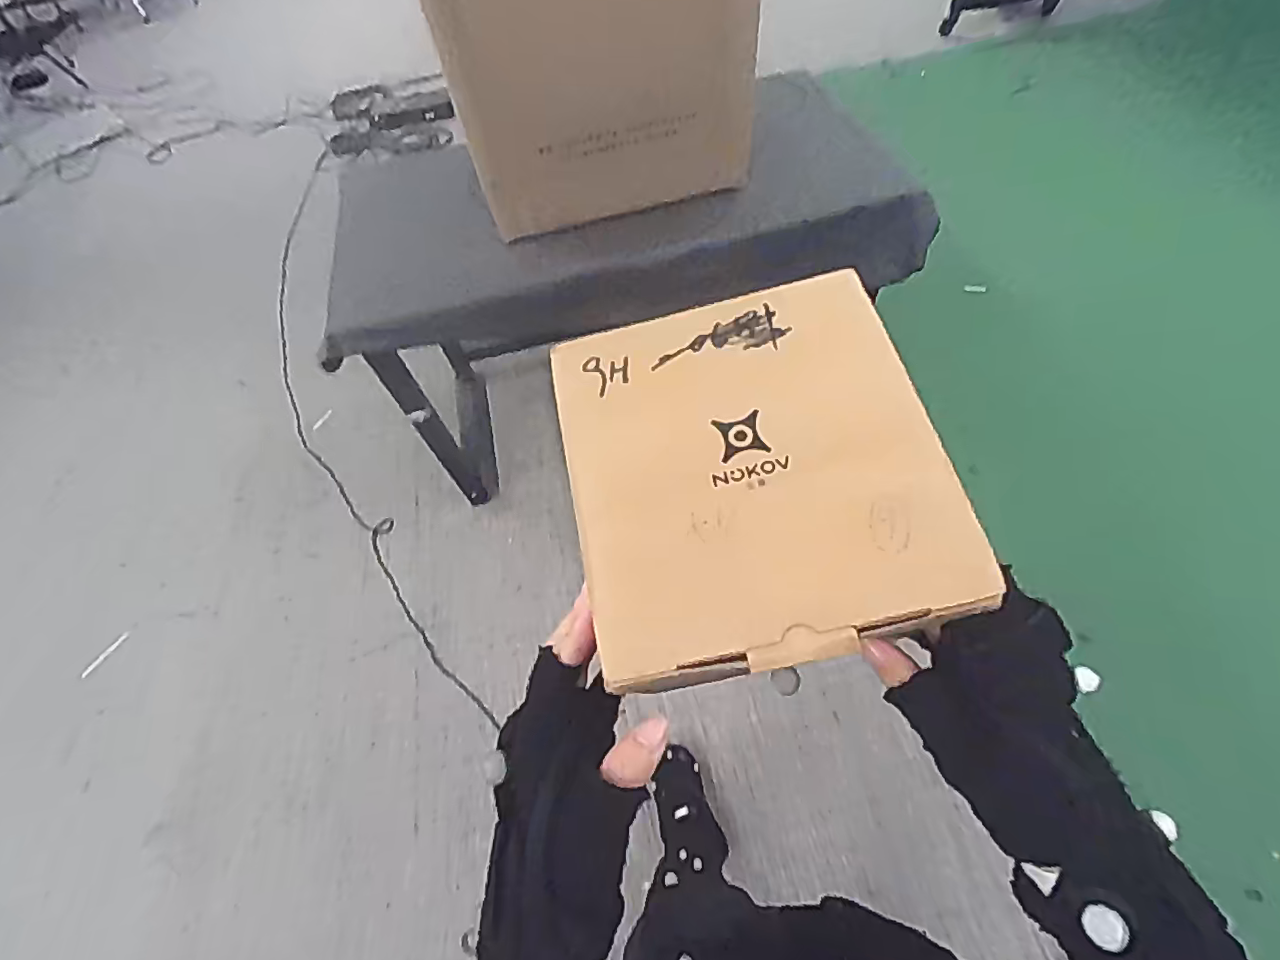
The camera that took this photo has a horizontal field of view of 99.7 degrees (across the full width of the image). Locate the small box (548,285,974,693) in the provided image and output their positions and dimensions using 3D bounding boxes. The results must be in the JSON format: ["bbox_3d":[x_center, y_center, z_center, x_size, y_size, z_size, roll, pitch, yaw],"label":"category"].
[{"bbox_3d":[0.057,0.022,0.332,0.168,0.176,0.179,-14,67,4],"label":"small box"}]
